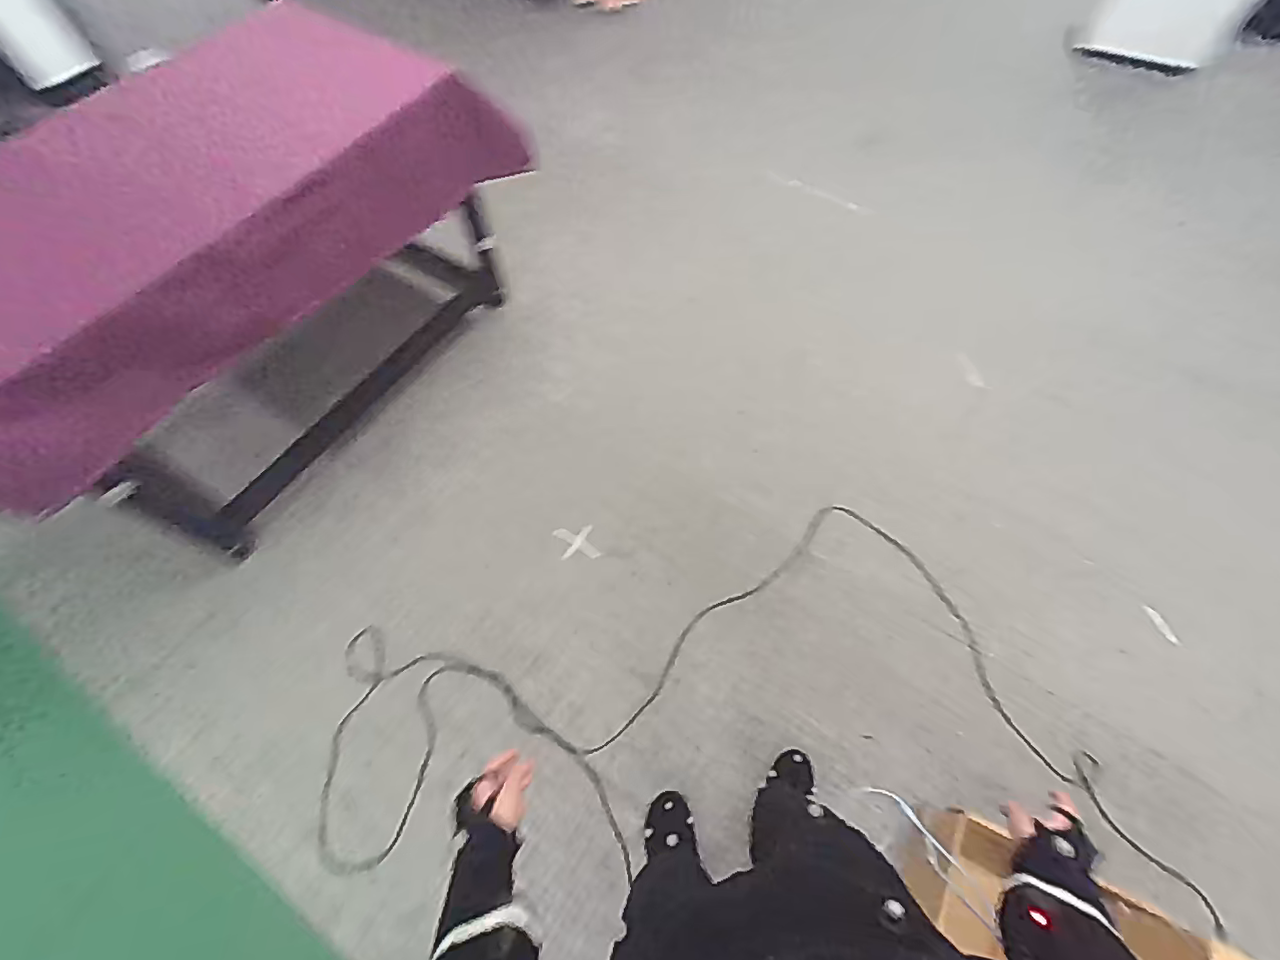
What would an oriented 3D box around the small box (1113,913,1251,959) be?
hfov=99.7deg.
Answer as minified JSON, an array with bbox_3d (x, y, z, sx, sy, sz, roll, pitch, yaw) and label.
[{"bbox_3d":[0.781,0.737,0.727,0.168,0.176,0.179,22,64,14],"label":"small box"}]

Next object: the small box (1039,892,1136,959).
[{"bbox_3d":[0.785,0.813,0.871,0.168,0.176,0.179,27,67,16],"label":"small box"}]
